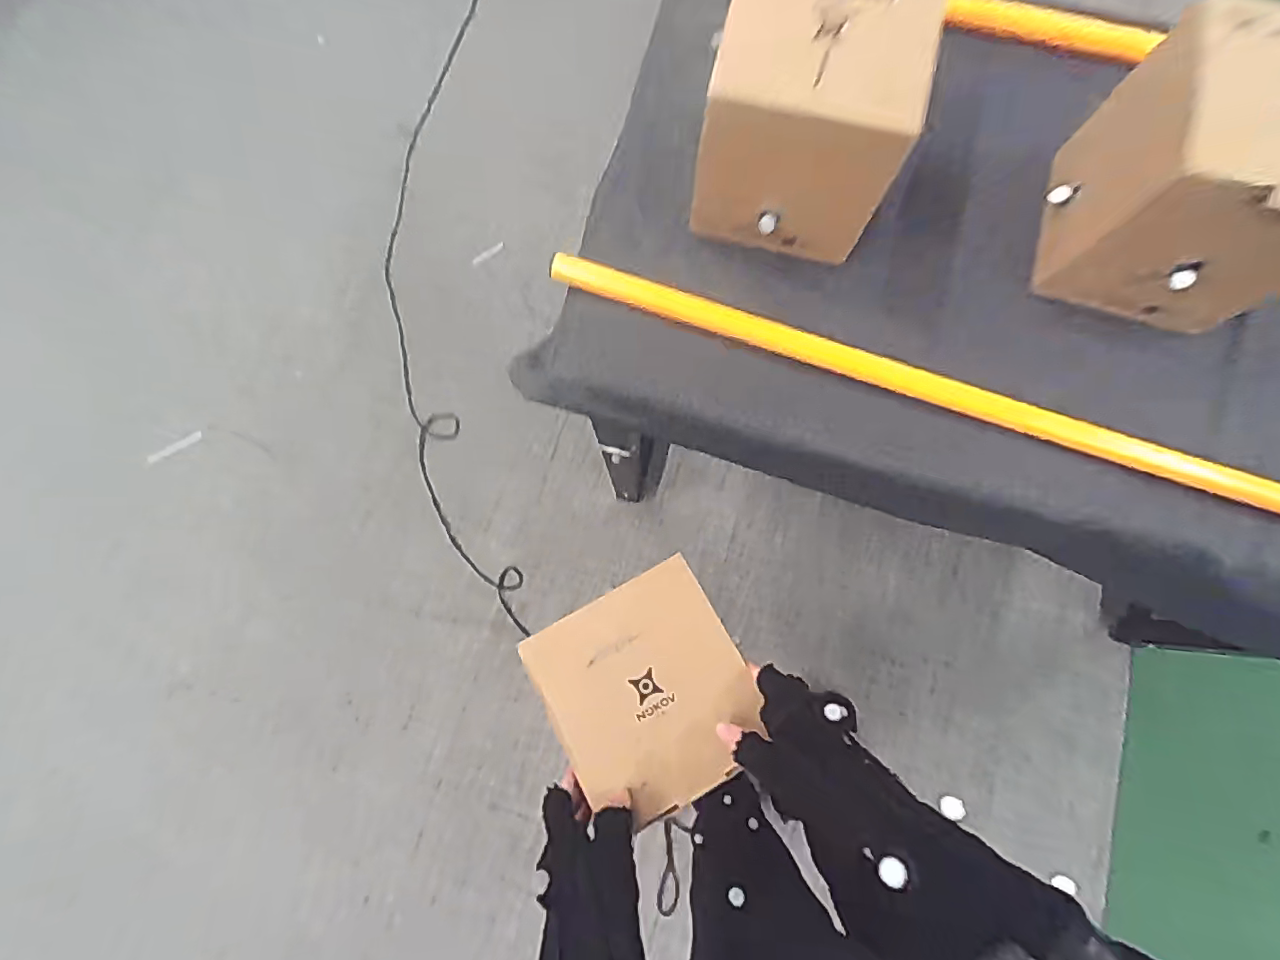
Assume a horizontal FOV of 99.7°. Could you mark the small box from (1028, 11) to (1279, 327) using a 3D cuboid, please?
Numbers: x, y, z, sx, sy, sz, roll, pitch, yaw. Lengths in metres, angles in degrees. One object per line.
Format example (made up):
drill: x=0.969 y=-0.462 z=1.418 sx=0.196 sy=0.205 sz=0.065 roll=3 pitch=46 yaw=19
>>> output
small box: x=0.493 y=-0.264 z=0.493 sx=0.168 sy=0.176 sz=0.179 roll=13 pitch=77 yaw=5

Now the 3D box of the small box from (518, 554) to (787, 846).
small box: x=0.009 y=0.196 z=0.521 sx=0.168 sy=0.176 sz=0.179 roll=-29 pitch=74 yaw=-9

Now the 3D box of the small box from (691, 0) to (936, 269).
small box: x=0.148 y=-0.337 z=0.512 sx=0.168 sy=0.176 sz=0.179 roll=14 pitch=78 yaw=4
